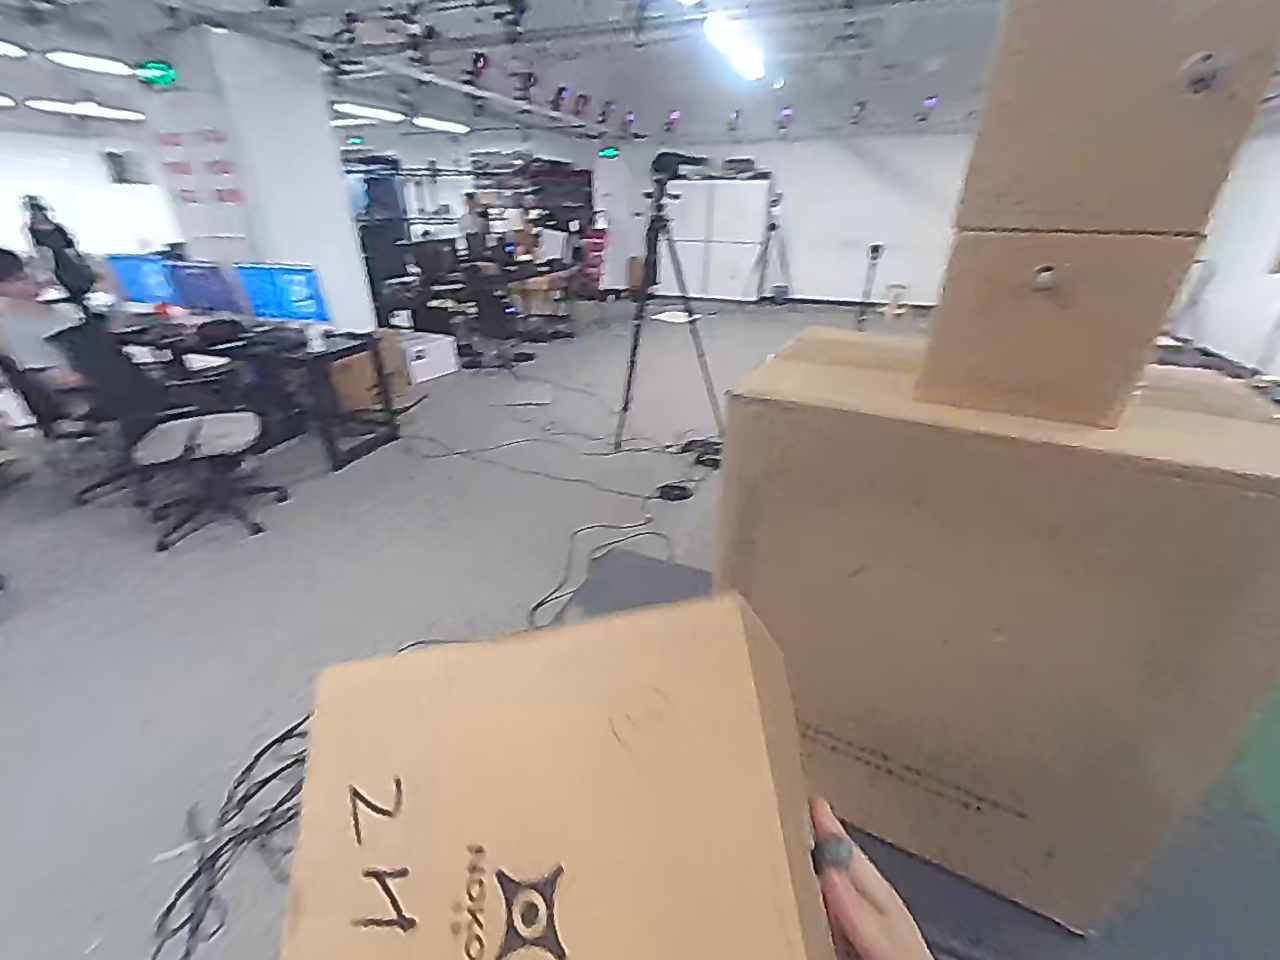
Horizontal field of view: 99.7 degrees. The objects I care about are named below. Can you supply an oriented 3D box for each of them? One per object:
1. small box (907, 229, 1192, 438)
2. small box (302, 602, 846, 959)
[{"bbox_3d":[0.395,-0.155,0.556,0.179,0.176,0.168,14,32,25],"label":"small box"},{"bbox_3d":[-0.010,0.161,0.240,0.179,0.176,0.168,-13,63,14],"label":"small box"}]
